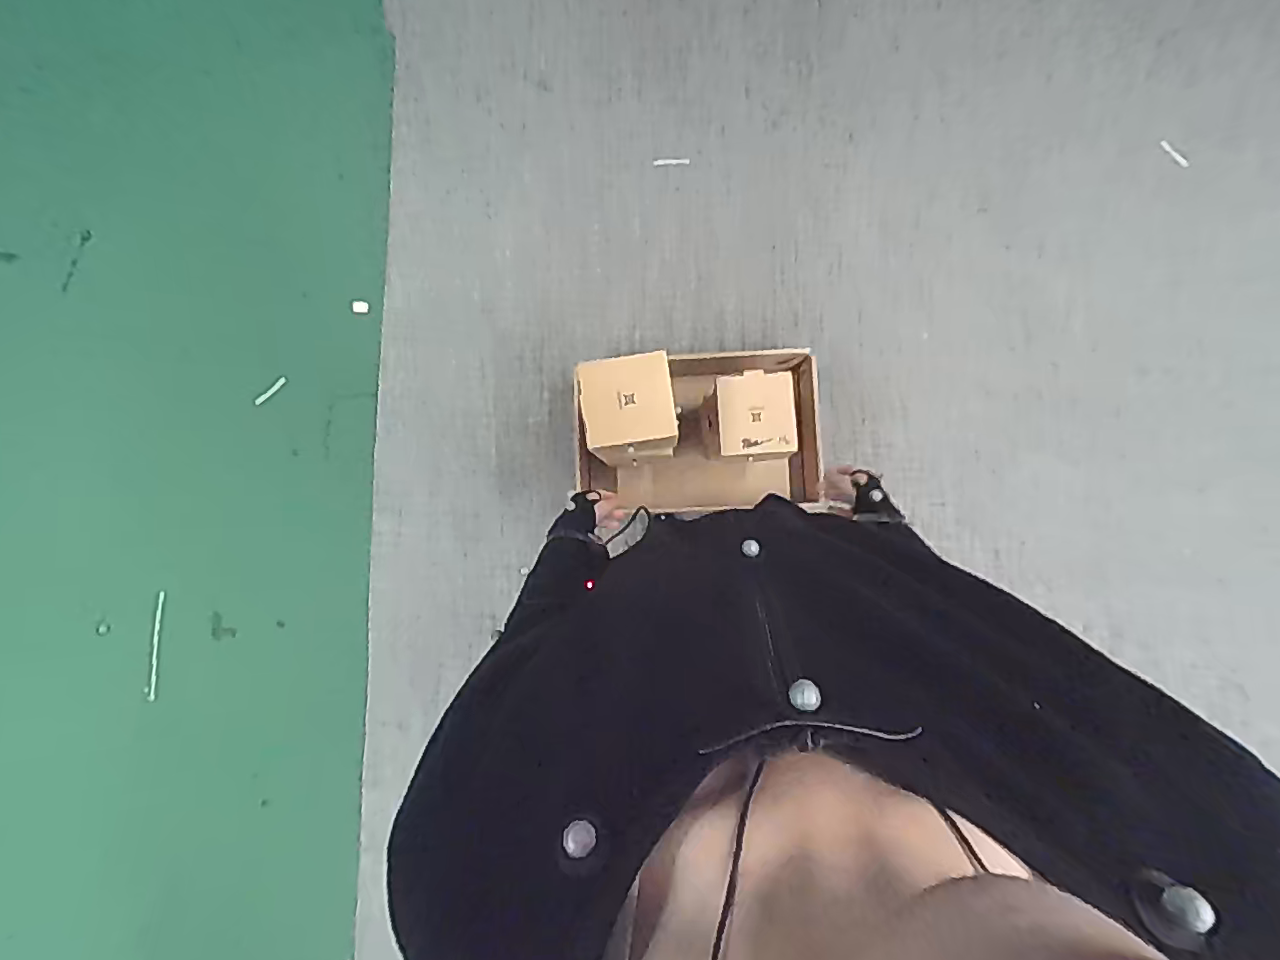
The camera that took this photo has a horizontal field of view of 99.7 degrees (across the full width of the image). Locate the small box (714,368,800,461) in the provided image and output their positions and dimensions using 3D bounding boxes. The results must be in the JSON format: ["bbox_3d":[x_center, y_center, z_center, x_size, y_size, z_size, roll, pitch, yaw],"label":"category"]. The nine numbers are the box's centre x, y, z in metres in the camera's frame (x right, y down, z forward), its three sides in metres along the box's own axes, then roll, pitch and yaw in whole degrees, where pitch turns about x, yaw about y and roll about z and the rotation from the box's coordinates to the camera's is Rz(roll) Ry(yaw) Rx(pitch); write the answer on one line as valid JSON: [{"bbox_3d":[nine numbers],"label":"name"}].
[{"bbox_3d":[0.260,-0.143,1.238,0.168,0.176,0.179,-3,85,5],"label":"small box"}]

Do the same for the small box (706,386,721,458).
[{"bbox_3d":[0.265,-0.153,1.403,0.179,0.176,0.168,-7,86,4],"label":"small box"}]

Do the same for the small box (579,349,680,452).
[{"bbox_3d":[-0.017,-0.154,1.095,0.179,0.176,0.168,-8,87,3],"label":"small box"}]

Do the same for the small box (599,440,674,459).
[{"bbox_3d":[-0.005,-0.140,1.257,0.168,0.176,0.179,-1,86,3],"label":"small box"}]
